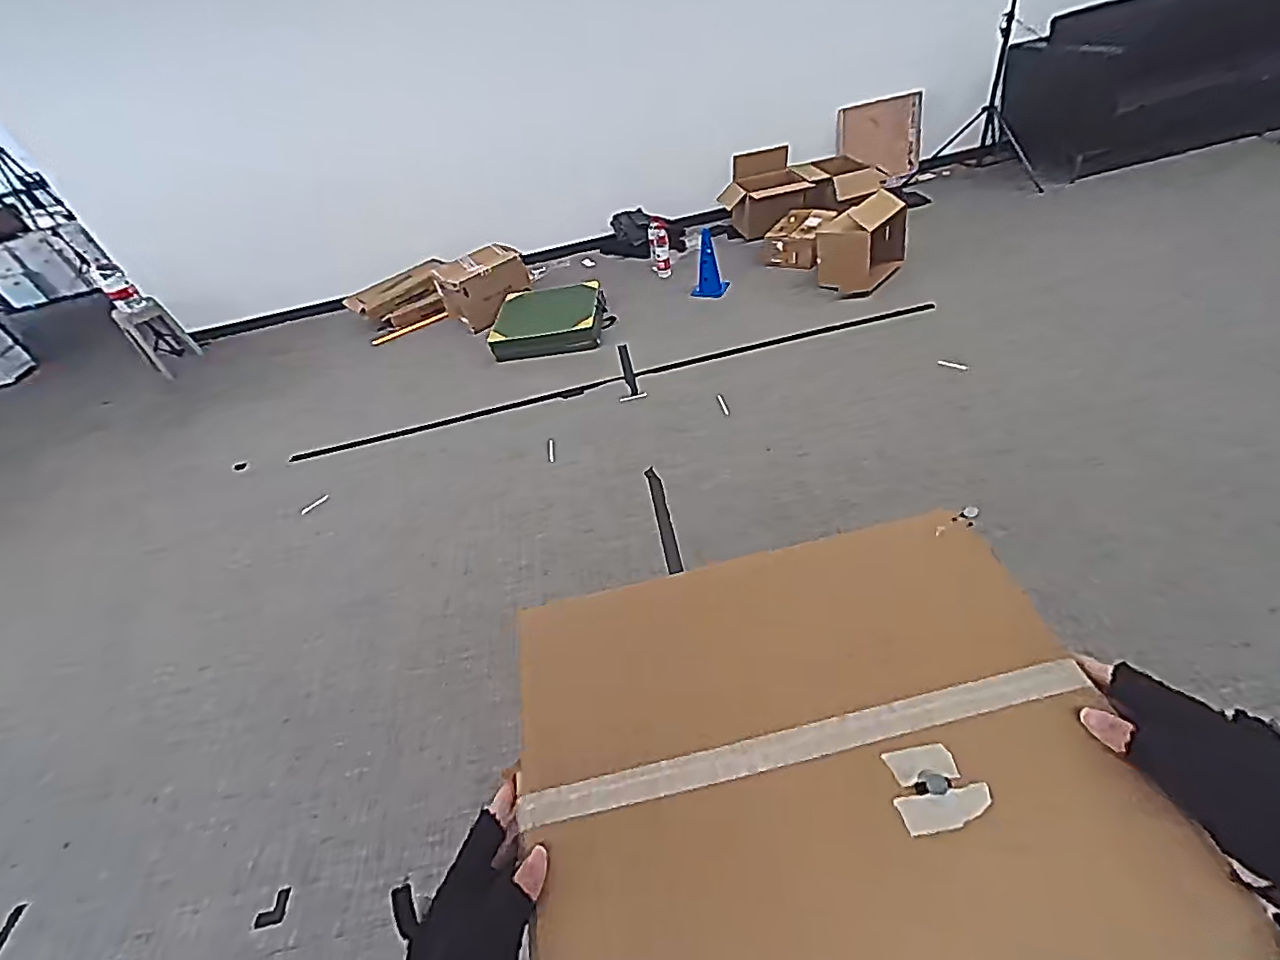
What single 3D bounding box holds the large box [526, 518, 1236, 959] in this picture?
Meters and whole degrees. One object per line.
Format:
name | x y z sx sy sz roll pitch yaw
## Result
large box | 0.136 0.288 0.506 0.408 0.320 0.320 -13 49 -2
